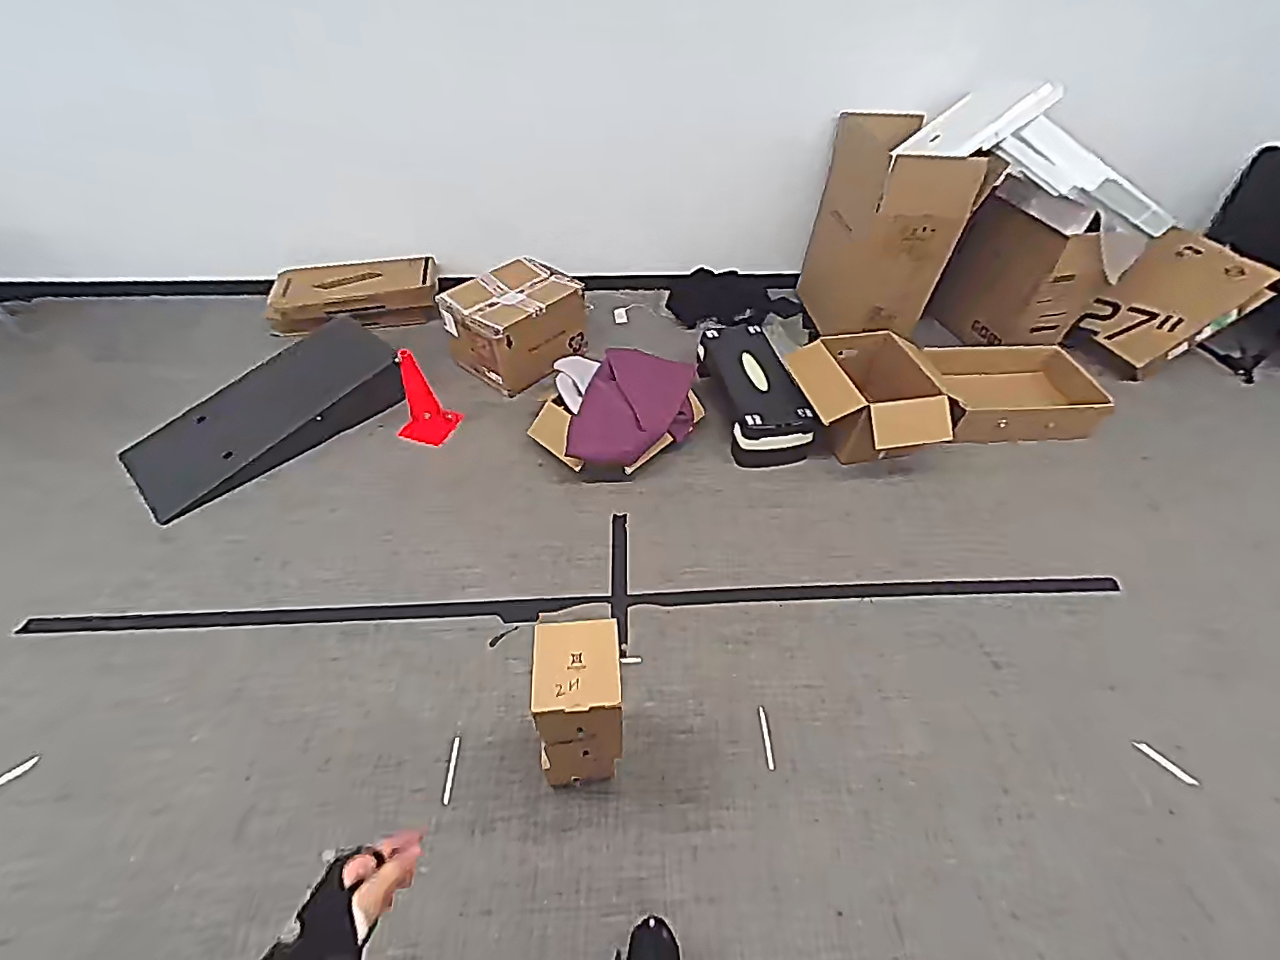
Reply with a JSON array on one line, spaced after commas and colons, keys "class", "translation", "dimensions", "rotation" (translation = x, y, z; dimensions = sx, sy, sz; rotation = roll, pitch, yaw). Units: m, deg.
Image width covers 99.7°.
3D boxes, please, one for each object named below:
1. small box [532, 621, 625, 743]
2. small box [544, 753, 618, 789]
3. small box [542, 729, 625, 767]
[{"class": "small box", "translation": [-0.117, 0.405, 1.083], "dimensions": [0.168, 0.176, 0.179], "rotation": [-4, 48, -3]}, {"class": "small box", "translation": [-0.145, 0.630, 1.323], "dimensions": [0.168, 0.176, 0.179], "rotation": [-7, 49, -5]}, {"class": "small box", "translation": [-0.126, 0.520, 1.203], "dimensions": [0.168, 0.176, 0.179], "rotation": [-7, 48, -6]}]
